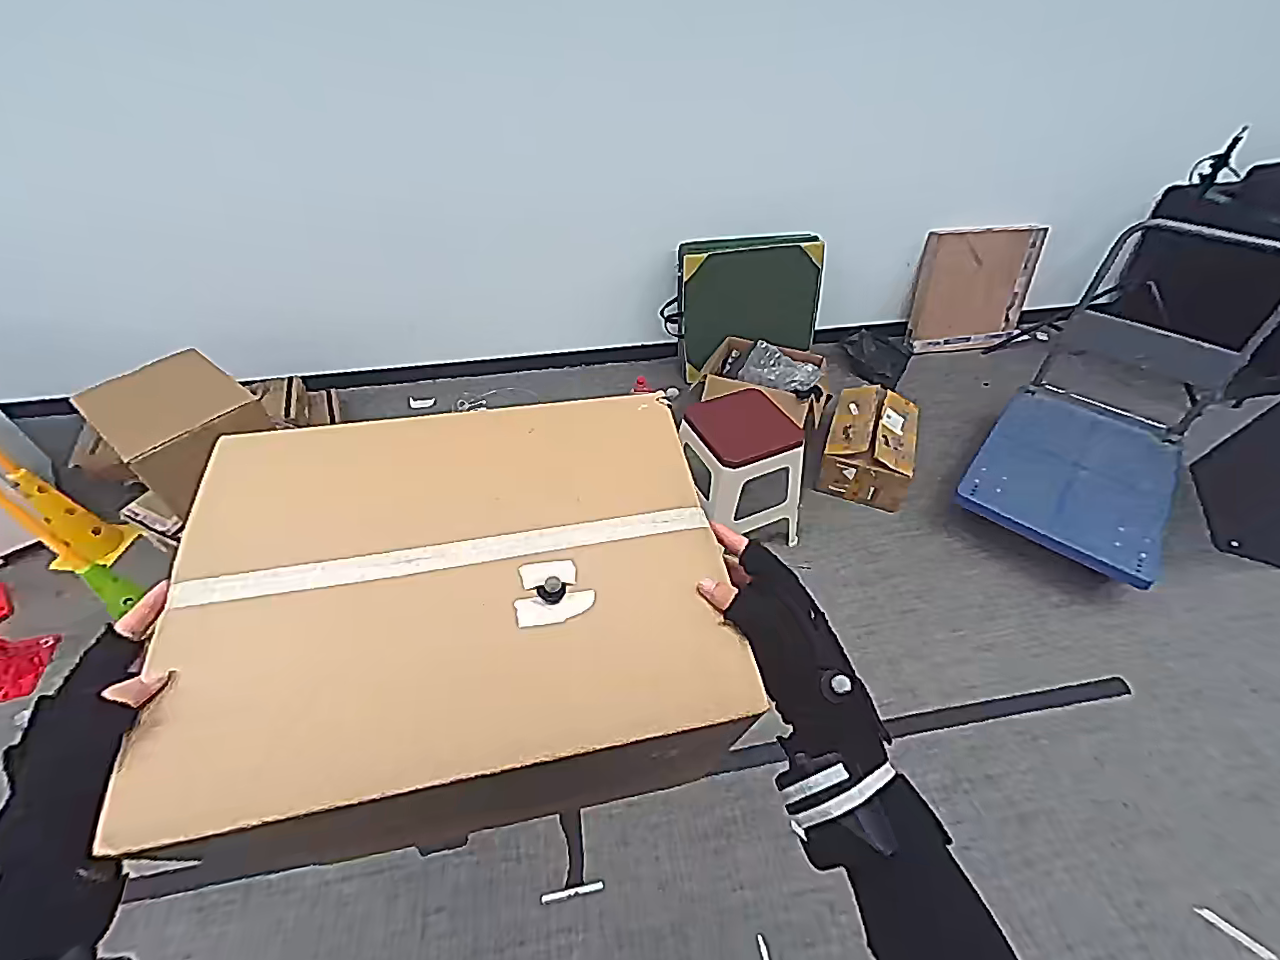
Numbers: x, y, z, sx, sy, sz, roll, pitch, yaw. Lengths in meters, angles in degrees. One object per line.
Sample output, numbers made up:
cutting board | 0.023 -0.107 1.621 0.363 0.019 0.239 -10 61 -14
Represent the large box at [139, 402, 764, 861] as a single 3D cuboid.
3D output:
large box | -0.146 0.153 0.553 0.408 0.320 0.320 -7 55 -11
